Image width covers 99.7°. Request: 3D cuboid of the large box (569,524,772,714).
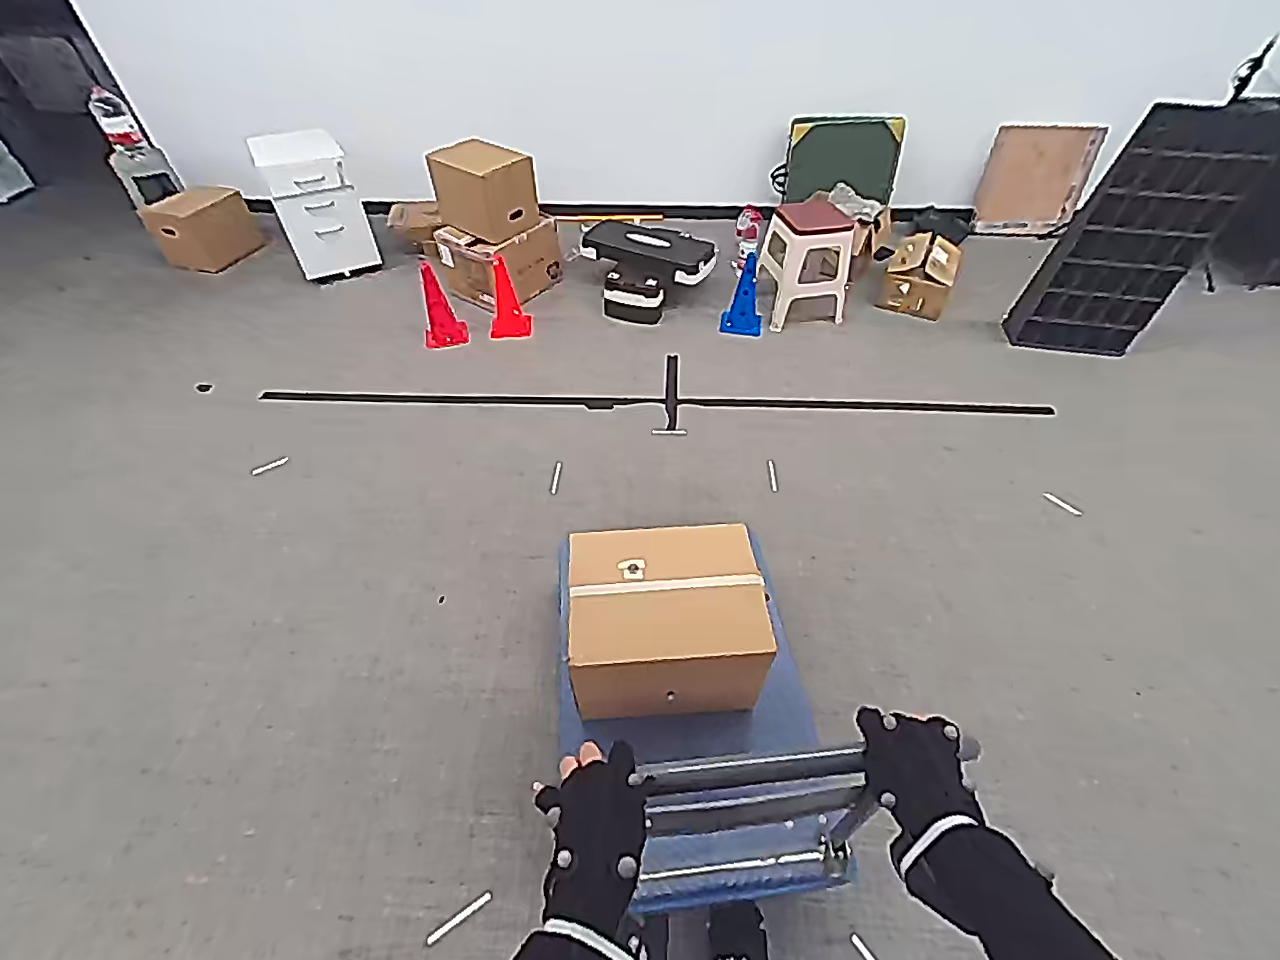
[{"bbox_3d":[0.054,0.327,1.256,0.408,0.320,0.320,-4,48,-2],"label":"large box"}]
